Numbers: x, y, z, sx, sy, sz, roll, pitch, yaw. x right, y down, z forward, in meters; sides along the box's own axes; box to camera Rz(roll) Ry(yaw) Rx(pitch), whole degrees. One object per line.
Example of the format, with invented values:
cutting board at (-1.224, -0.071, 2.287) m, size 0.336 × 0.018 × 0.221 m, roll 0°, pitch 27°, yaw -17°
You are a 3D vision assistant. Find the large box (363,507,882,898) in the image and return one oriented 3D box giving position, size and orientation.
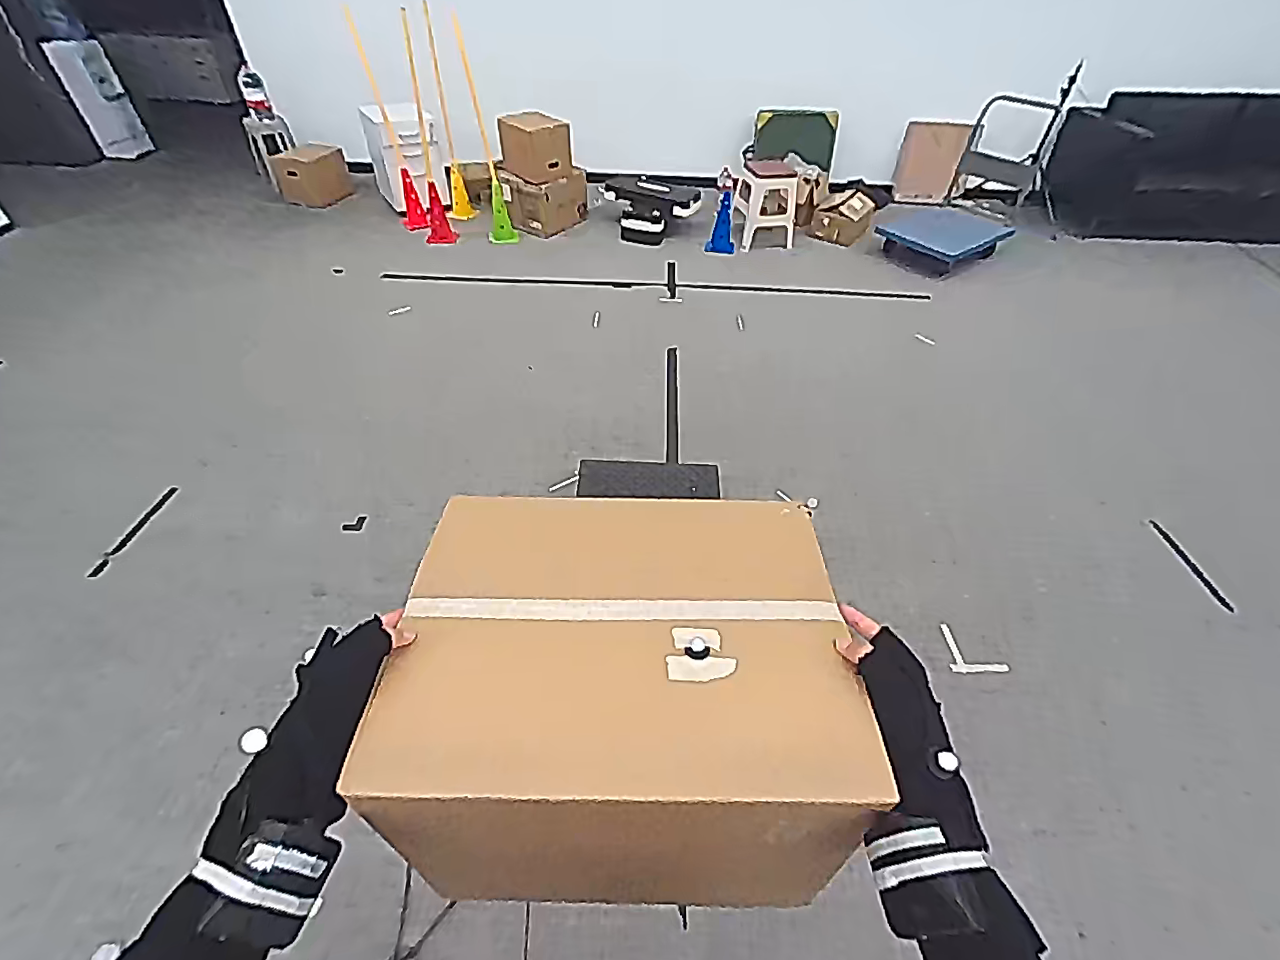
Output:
large box at (-0.015, 0.246, 0.614) m, size 0.408 × 0.320 × 0.320 m, roll 1°, pitch 41°, yaw 0°
